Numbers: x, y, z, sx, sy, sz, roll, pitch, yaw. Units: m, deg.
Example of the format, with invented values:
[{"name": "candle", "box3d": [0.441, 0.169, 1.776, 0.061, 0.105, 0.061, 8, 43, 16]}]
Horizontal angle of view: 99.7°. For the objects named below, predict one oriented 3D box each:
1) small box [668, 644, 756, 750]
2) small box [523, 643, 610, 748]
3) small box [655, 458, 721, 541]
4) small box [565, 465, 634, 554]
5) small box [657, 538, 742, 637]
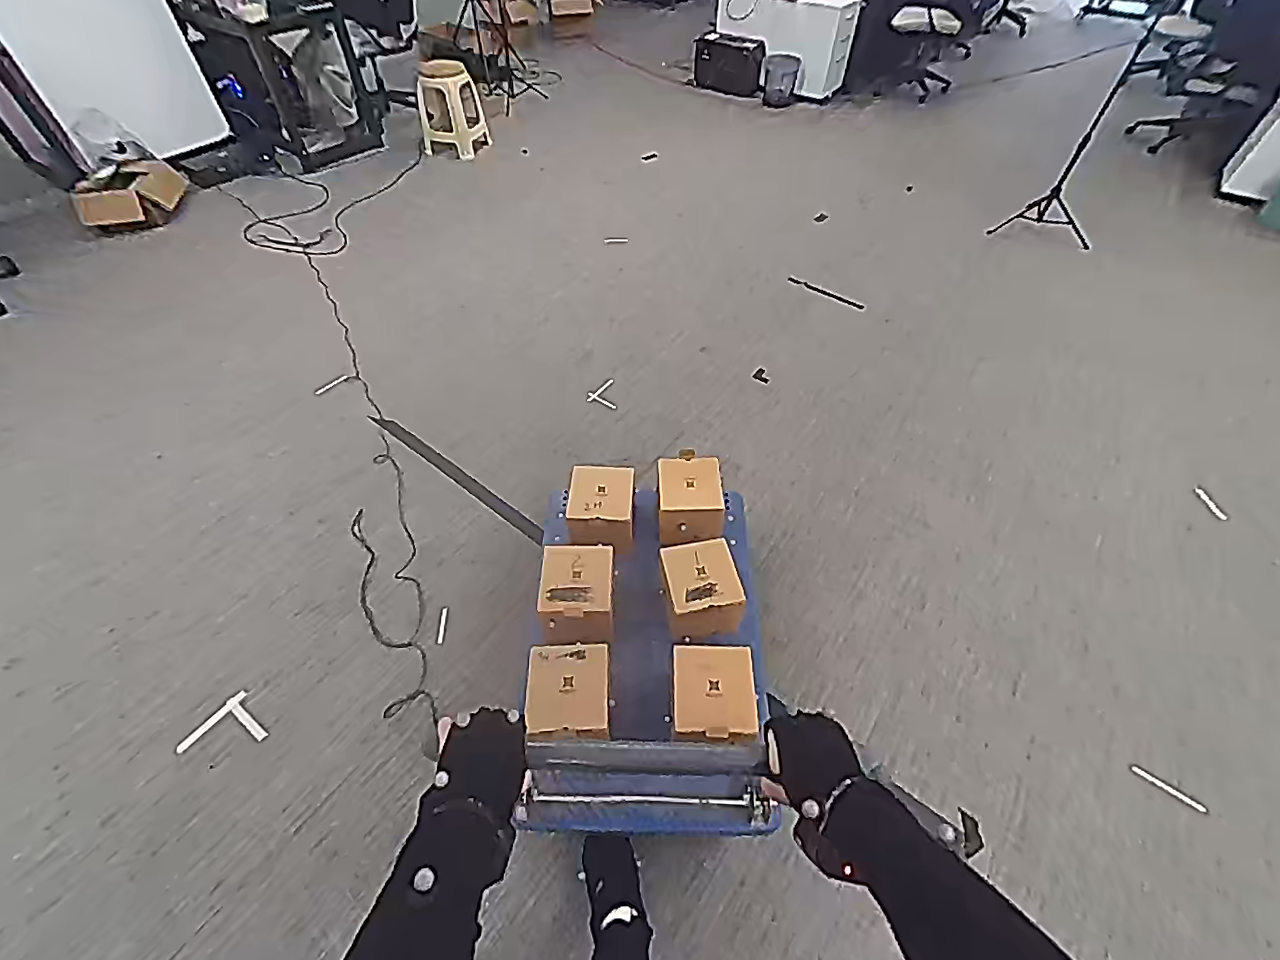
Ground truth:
[{"name": "small box", "box3d": [0.148, 0.471, 1.165, 0.168, 0.176, 0.179, 2, 50, 0]}, {"name": "small box", "box3d": [-0.150, 0.468, 1.162, 0.168, 0.176, 0.179, -1, 51, -2]}, {"name": "small box", "box3d": [0.128, 0.059, 1.499, 0.168, 0.176, 0.179, -1, 51, -1]}, {"name": "small box", "box3d": [-0.105, 0.082, 1.476, 0.168, 0.176, 0.179, 2, 52, 2]}, {"name": "small box", "box3d": [0.139, 0.270, 1.327, 0.168, 0.176, 0.179, -8, 51, -7]}]
